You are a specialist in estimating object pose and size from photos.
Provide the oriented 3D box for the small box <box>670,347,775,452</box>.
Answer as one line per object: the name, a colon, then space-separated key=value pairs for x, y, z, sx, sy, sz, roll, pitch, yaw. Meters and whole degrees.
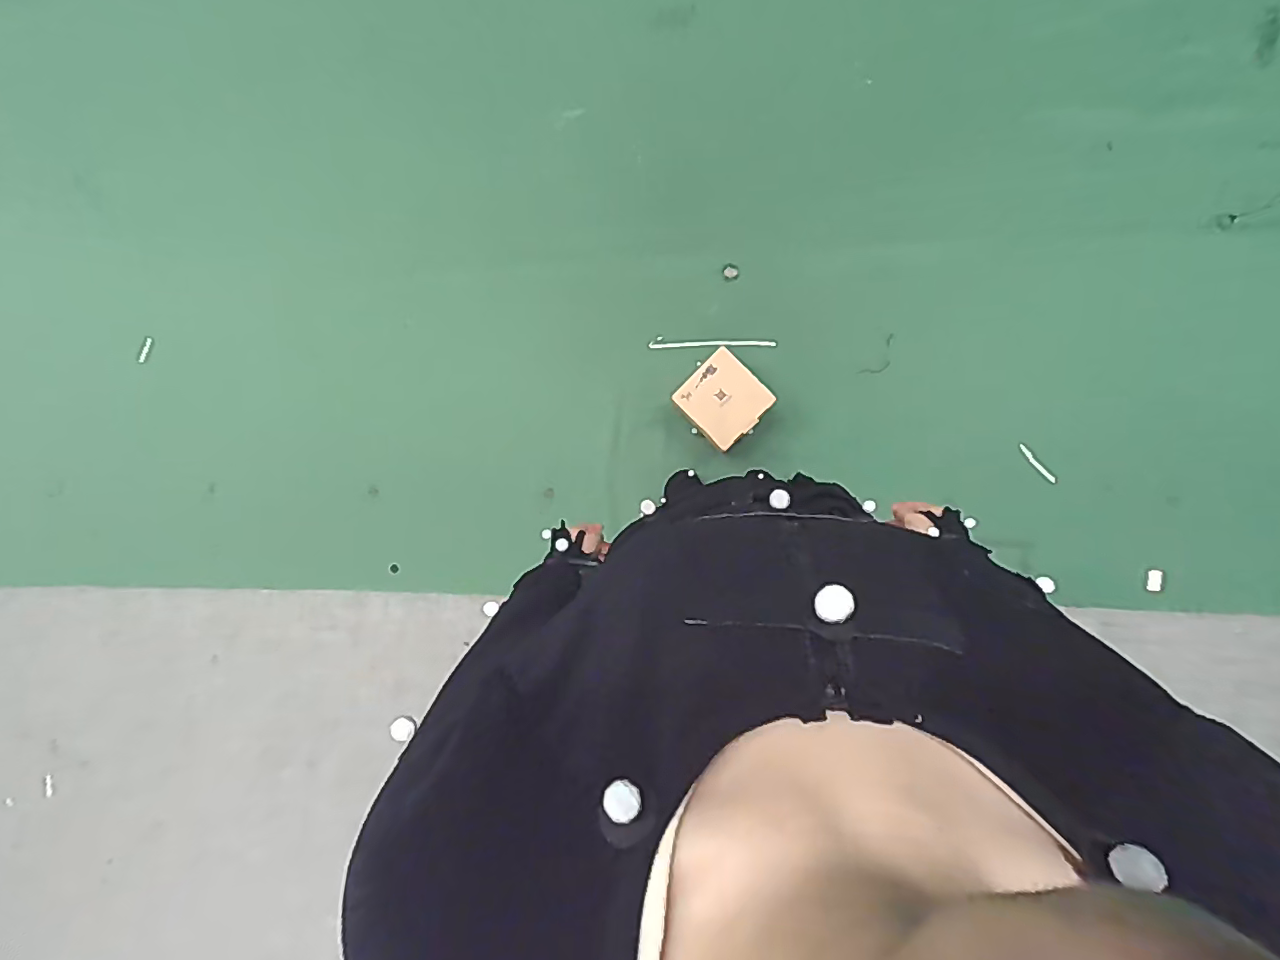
small box: x=0.190 y=-0.183 z=1.276 sx=0.168 sy=0.176 sz=0.179 roll=-45 pitch=87 yaw=6
